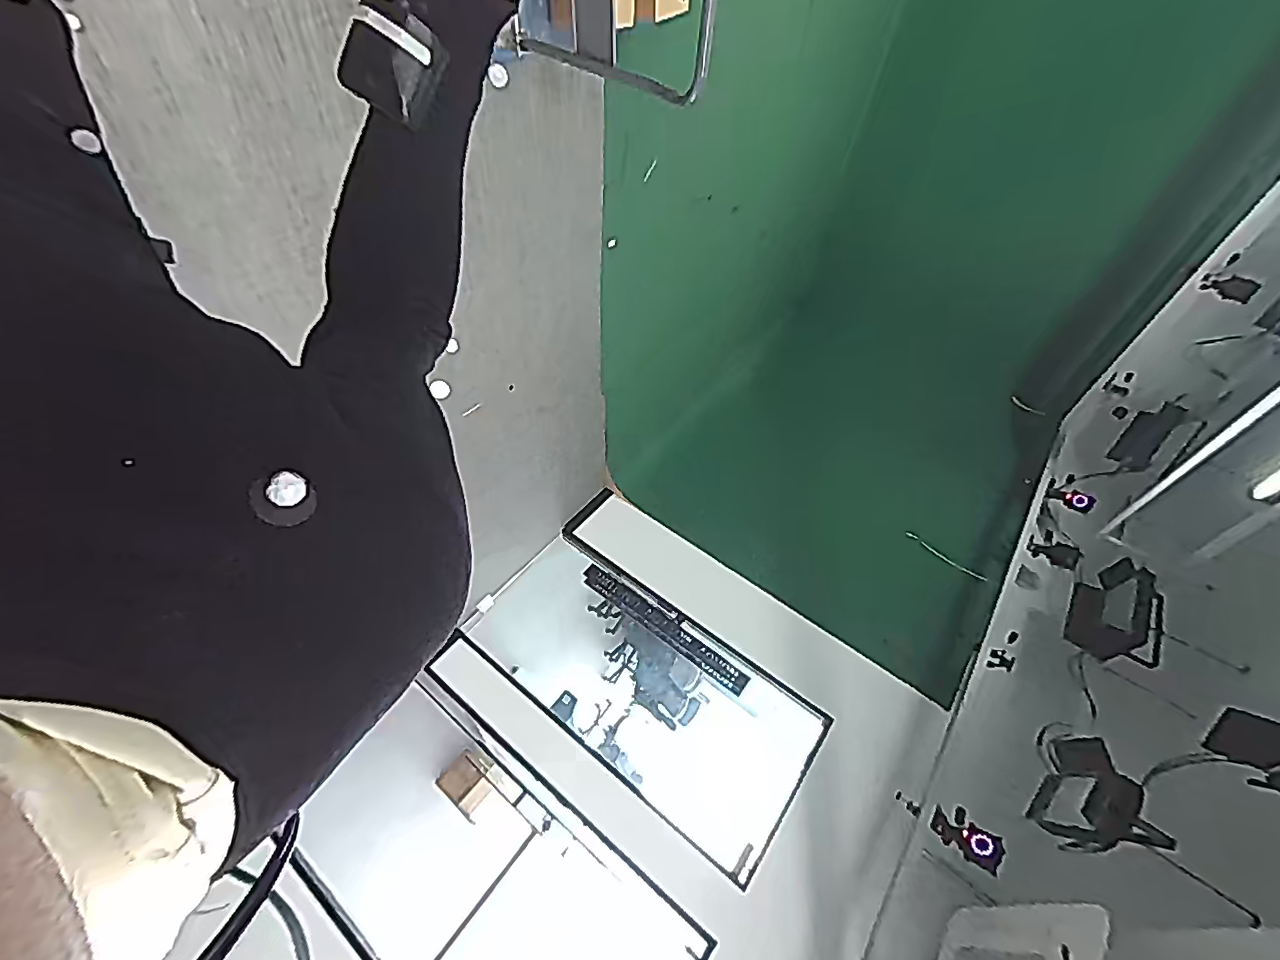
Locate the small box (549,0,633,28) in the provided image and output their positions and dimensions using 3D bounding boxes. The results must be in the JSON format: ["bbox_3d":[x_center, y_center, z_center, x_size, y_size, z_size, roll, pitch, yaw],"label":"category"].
[{"bbox_3d":[-0.132,-1.384,1.498,0.179,0.176,0.168,-42,154,-32],"label":"small box"}]

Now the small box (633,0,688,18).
[{"bbox_3d":[0.037,-1.540,1.639,0.179,0.176,0.168,-44,155,-28],"label":"small box"}]
